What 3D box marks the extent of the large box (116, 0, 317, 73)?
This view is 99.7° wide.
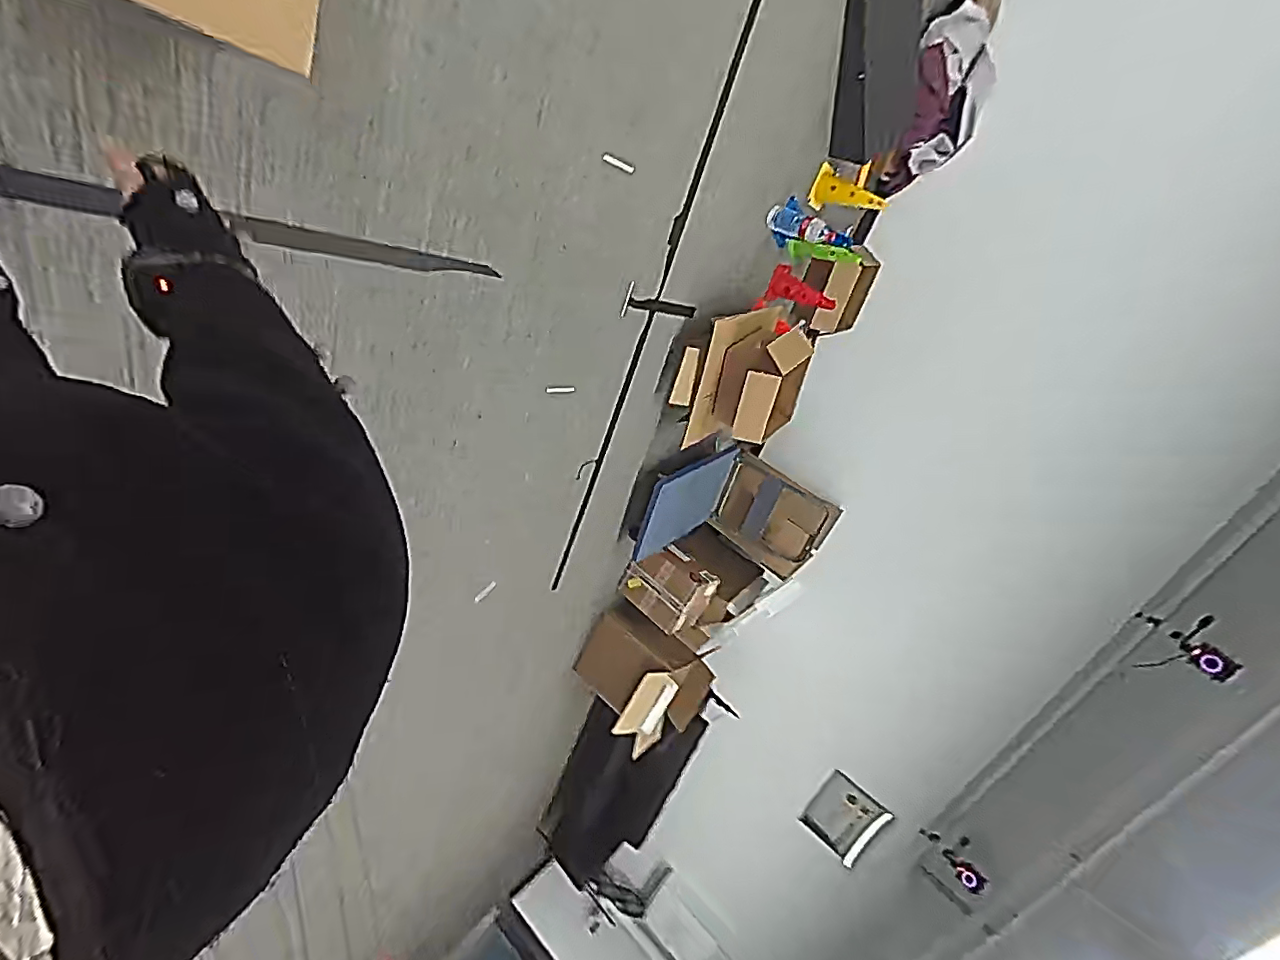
[{"bbox_3d":[-0.677,-0.793,0.670,0.408,0.320,0.320,-13,132,-55],"label":"large box"}]
